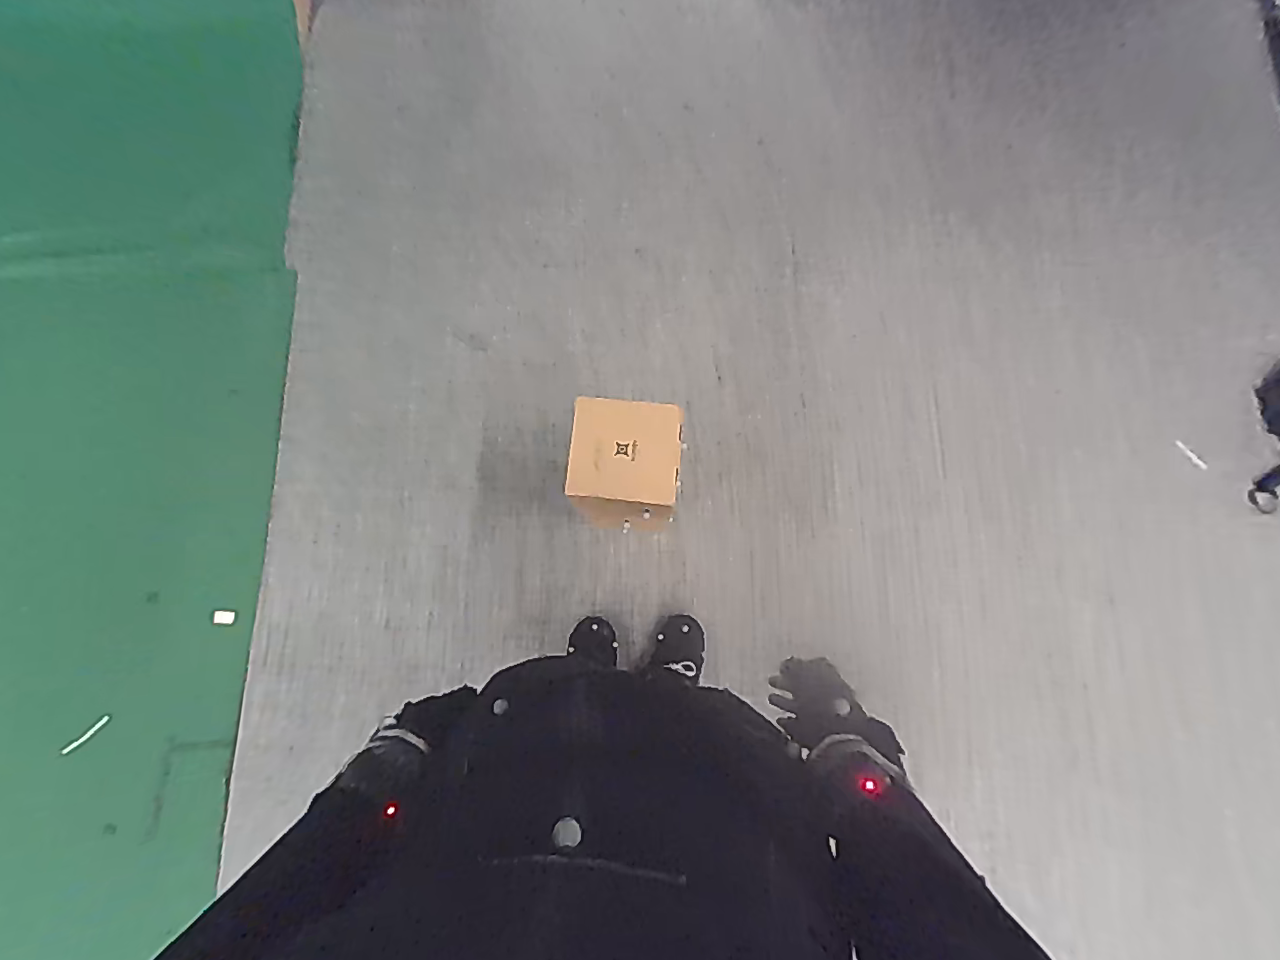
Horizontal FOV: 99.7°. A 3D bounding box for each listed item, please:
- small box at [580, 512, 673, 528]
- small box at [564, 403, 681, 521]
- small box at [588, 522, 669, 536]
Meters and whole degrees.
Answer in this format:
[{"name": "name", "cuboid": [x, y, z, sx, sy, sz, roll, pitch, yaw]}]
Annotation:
[{"name": "small box", "cuboid": [-0.021, 0.007, 1.101, 0.179, 0.176, 0.168, 2, 80, 2]}, {"name": "small box", "cuboid": [-0.025, -0.023, 0.939, 0.179, 0.176, 0.168, 4, 78, 3]}, {"name": "small box", "cuboid": [-0.019, 0.037, 1.259, 0.179, 0.176, 0.168, 4, 78, 3]}]
